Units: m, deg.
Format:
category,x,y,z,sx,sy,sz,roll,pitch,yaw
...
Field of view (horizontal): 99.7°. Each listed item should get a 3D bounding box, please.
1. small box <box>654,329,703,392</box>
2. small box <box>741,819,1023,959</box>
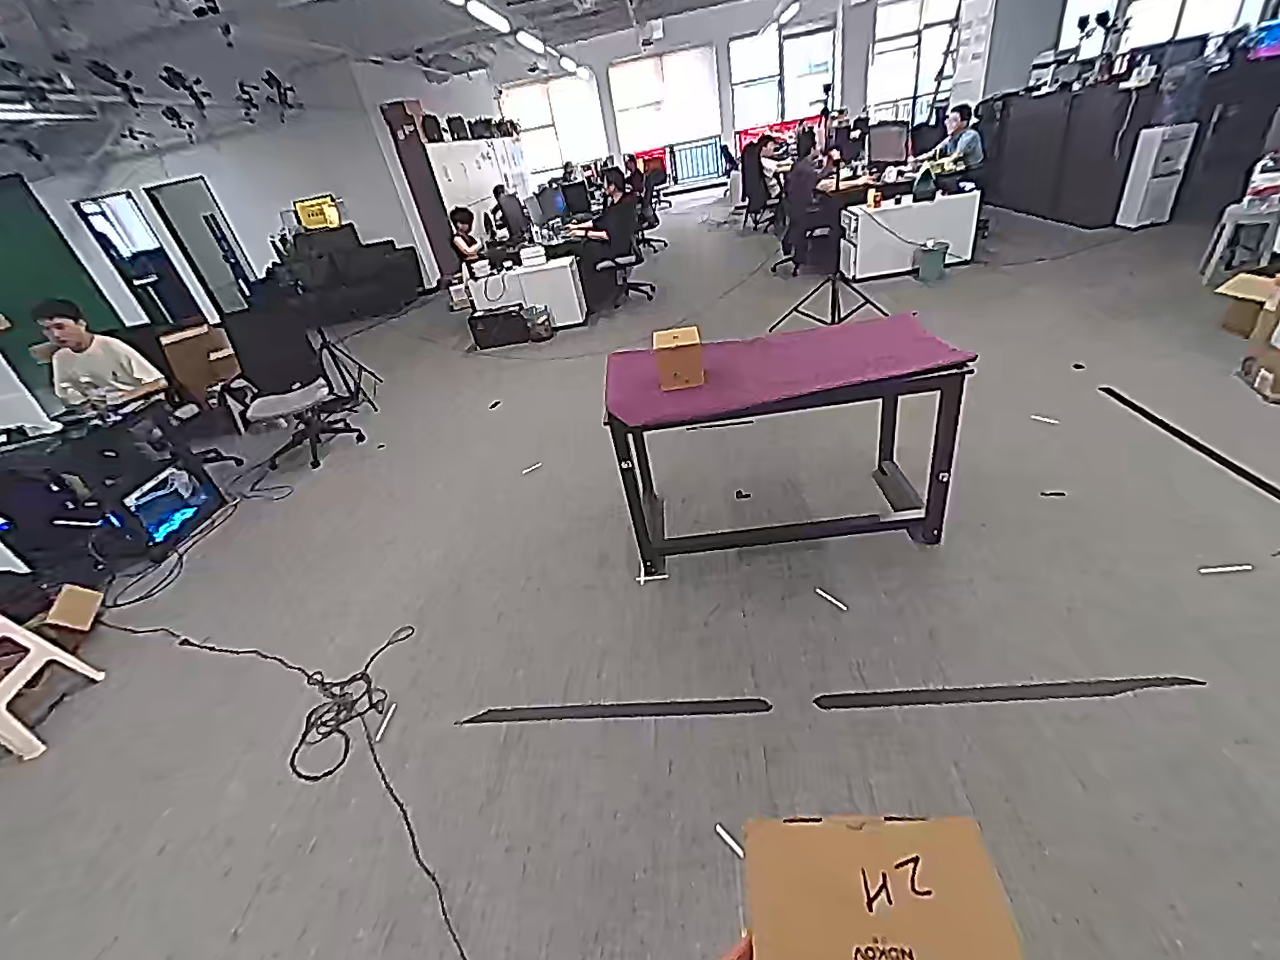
category,x,y,z,sx,sy,sz,roll,pitch,yaw
small box,0.141,-0.444,2.010,0.168,0.176,0.179,-7,34,5
small box,0.165,0.366,0.382,0.168,0.176,0.179,-5,39,7
